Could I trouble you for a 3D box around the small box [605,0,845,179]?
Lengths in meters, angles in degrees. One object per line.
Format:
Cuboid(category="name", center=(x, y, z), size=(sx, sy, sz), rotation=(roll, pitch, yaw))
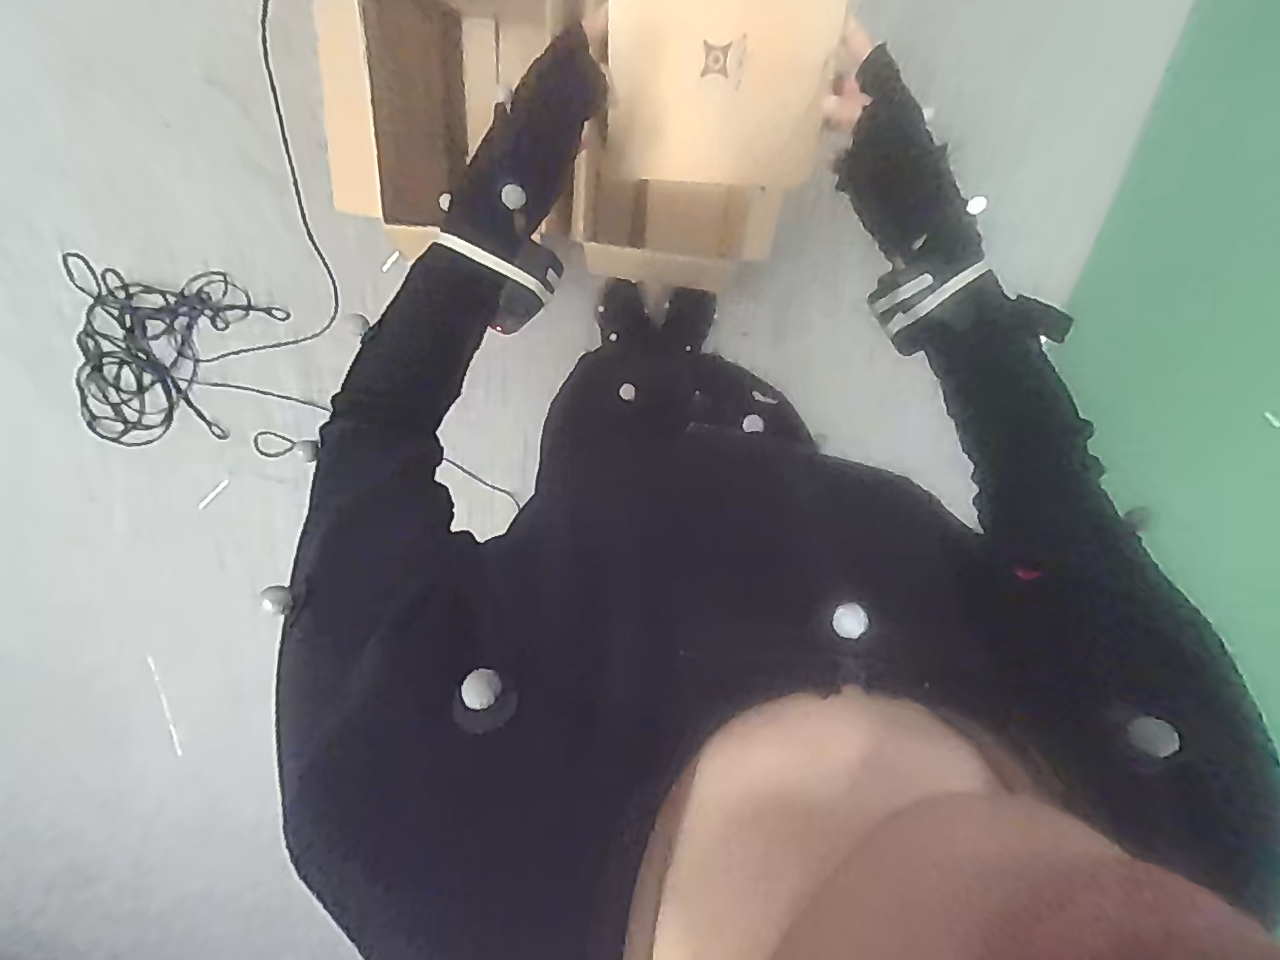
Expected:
Cuboid(category="small box", center=(0.064, -0.373, 0.474), size=(0.179, 0.176, 0.168), rotation=(2, 128, 0))
